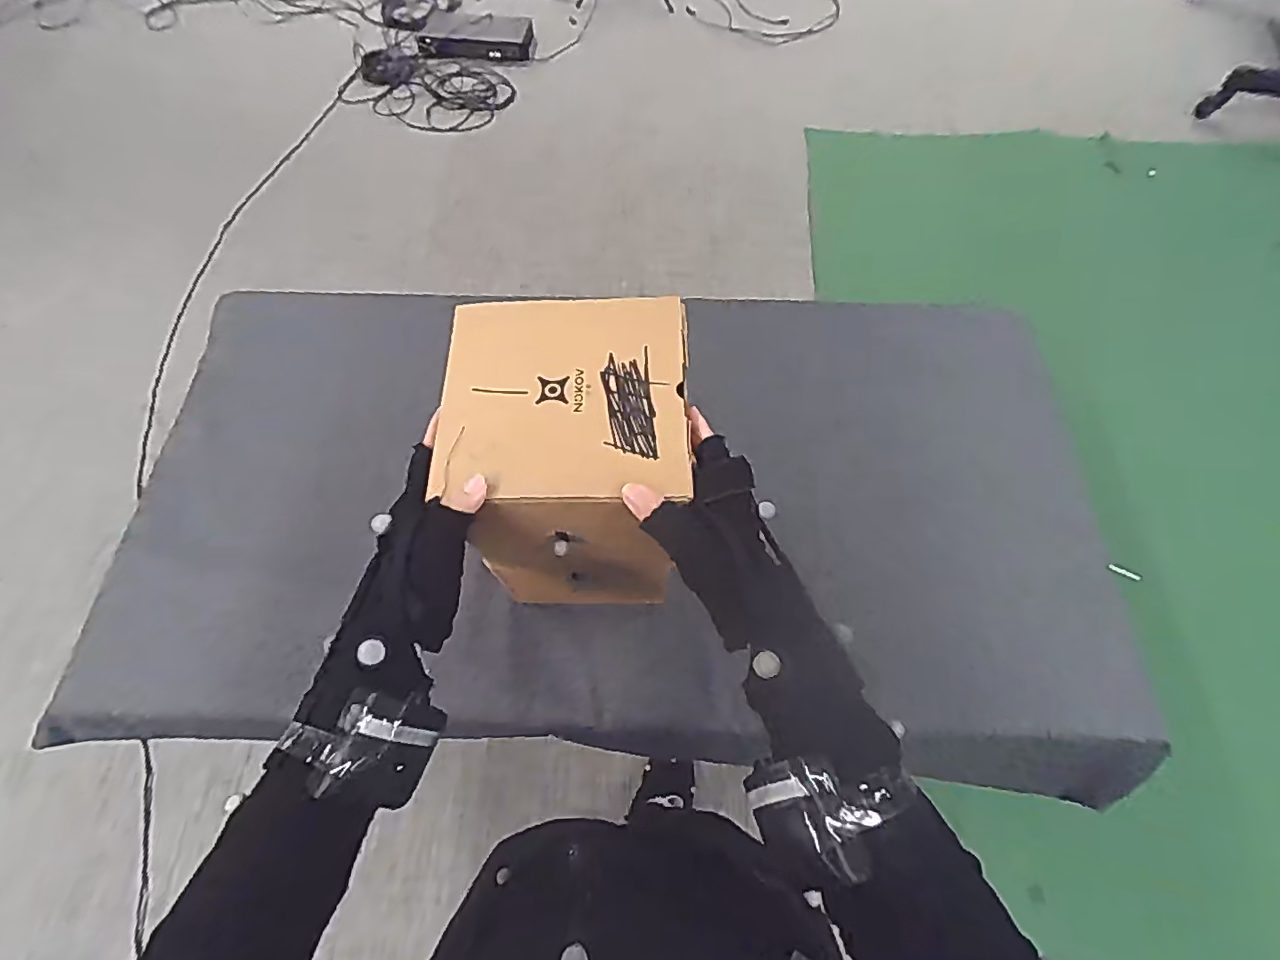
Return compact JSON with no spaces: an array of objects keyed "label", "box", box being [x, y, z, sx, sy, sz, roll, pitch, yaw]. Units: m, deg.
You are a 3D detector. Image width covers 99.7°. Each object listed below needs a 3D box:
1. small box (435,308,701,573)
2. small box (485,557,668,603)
[{"label":"small box","box":[-0.051,-0.023,0.456,0.179,0.176,0.168,-3,66,-1]},{"label":"small box","box":[-0.058,0.040,0.607,0.179,0.176,0.168,1,66,0]}]
